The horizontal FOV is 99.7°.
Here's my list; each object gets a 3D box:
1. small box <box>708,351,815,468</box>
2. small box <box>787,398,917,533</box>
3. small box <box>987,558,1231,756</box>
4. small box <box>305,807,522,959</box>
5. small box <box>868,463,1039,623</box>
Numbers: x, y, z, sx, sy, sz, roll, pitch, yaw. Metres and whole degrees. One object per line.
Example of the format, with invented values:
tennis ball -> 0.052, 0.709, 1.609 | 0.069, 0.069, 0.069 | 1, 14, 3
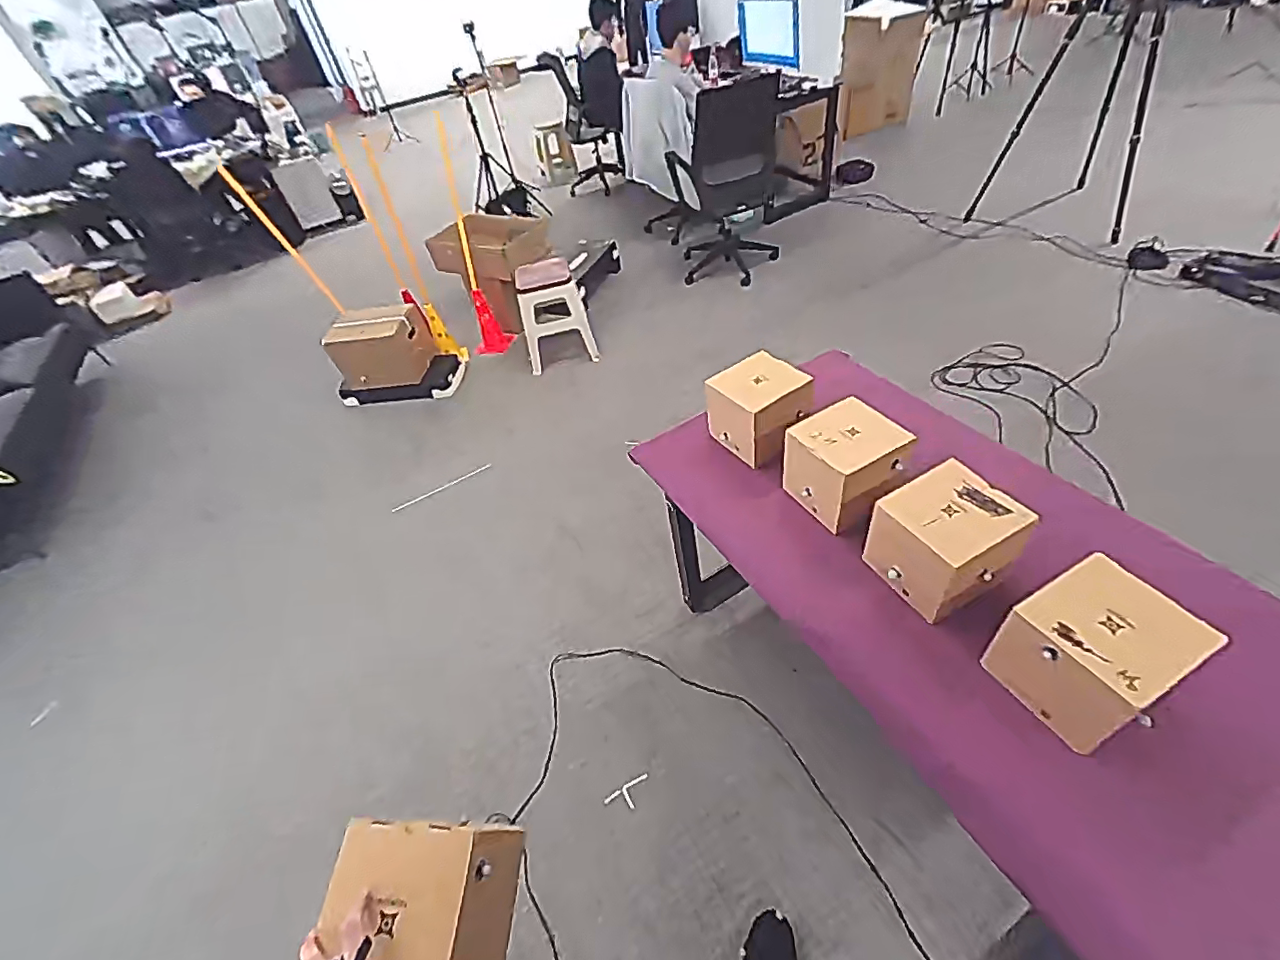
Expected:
small box -> 0.274, -0.161, 1.243 | 0.179, 0.176, 0.168 | -31, 47, -17
small box -> 0.411, -0.029, 1.082 | 0.179, 0.176, 0.168 | -27, 46, -13
small box -> 0.634, 0.248, 0.759 | 0.179, 0.176, 0.168 | -25, 45, -13
small box -> -0.257, 0.506, 0.653 | 0.168, 0.176, 0.179 | -2, 56, 11
small box -> 0.517, 0.109, 0.923 | 0.179, 0.176, 0.168 | -26, 46, -12
